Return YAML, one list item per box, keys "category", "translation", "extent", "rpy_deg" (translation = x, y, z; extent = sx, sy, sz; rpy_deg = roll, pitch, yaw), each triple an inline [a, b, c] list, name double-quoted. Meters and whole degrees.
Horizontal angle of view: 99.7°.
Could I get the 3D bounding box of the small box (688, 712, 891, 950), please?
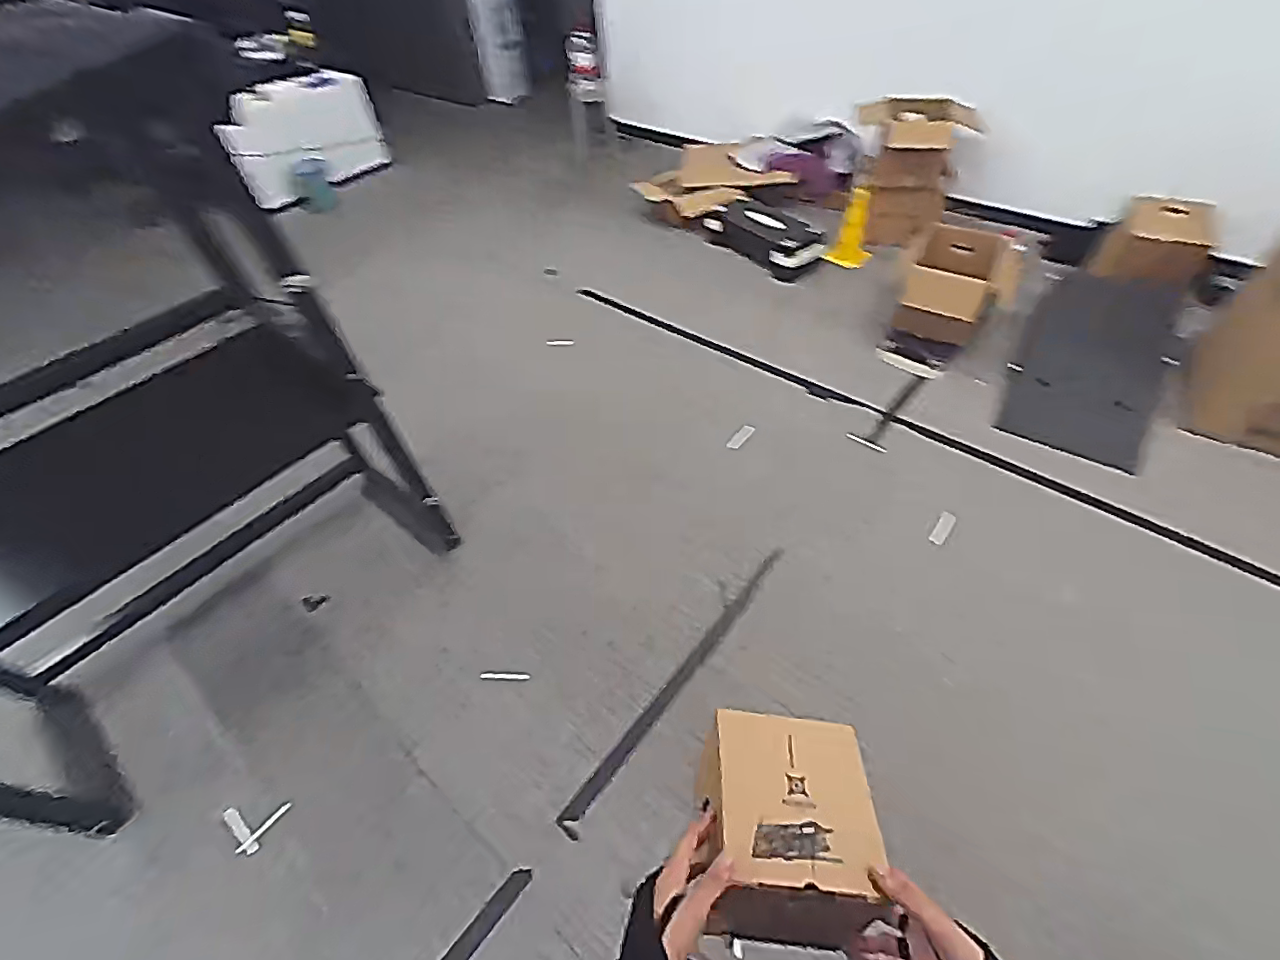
- category: "small box"
  translation: [0.150, 0.396, 0.612]
  extent: [0.168, 0.176, 0.179]
  rpy_deg: [7, 35, -2]
